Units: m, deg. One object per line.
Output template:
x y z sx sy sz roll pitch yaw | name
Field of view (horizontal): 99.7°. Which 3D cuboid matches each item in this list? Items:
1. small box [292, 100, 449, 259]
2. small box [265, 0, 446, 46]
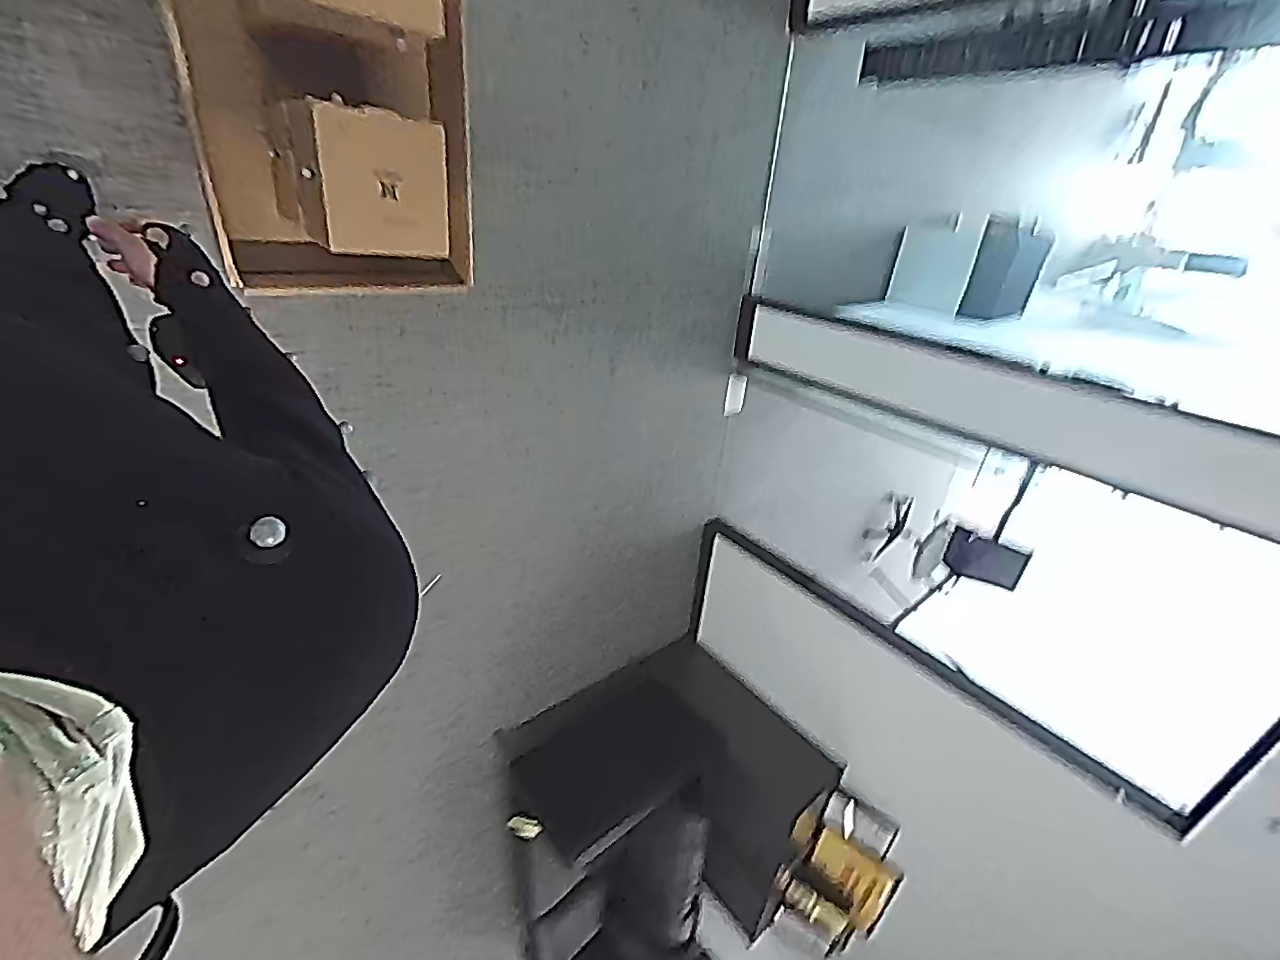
-0.395 -0.436 0.797 0.168 0.176 0.179 -14 125 -37 | small box
-0.362 -0.665 0.674 0.179 0.176 0.168 -17 126 -38 | small box
